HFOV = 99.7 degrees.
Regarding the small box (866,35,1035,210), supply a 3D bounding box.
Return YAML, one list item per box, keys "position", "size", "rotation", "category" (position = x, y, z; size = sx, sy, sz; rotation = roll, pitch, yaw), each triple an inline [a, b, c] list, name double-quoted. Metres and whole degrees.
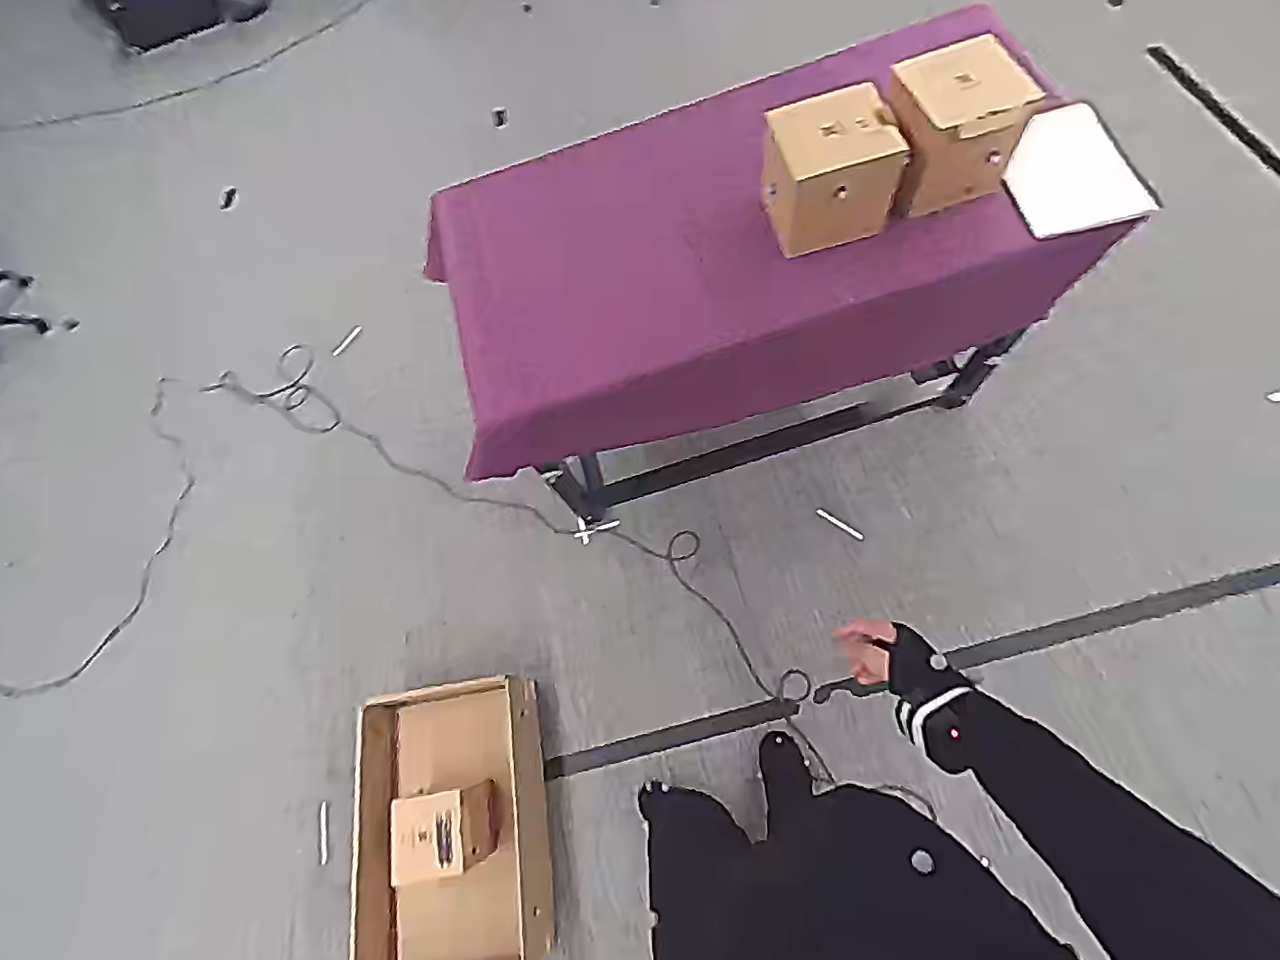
- position: [0.512, -0.594, 0.922]
  size: [0.168, 0.176, 0.179]
  rotation: [-16, 67, 3]
  category: "small box"
